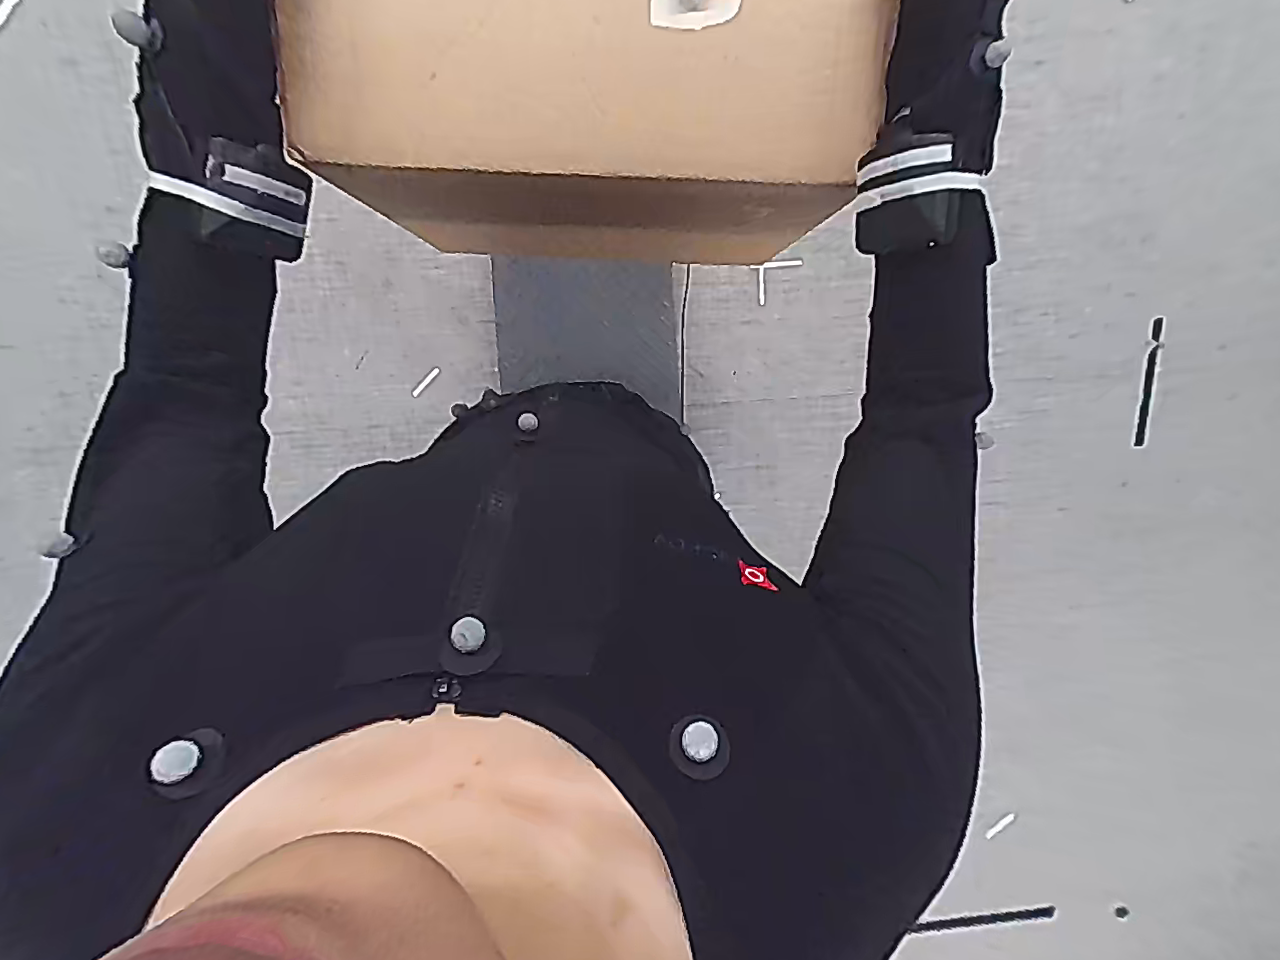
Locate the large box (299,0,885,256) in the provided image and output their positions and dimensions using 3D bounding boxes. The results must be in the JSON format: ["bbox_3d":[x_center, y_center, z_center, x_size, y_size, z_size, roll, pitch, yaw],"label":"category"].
[{"bbox_3d":[-0.034,-0.402,0.501,0.408,0.320,0.320,1,102,-2],"label":"large box"}]
